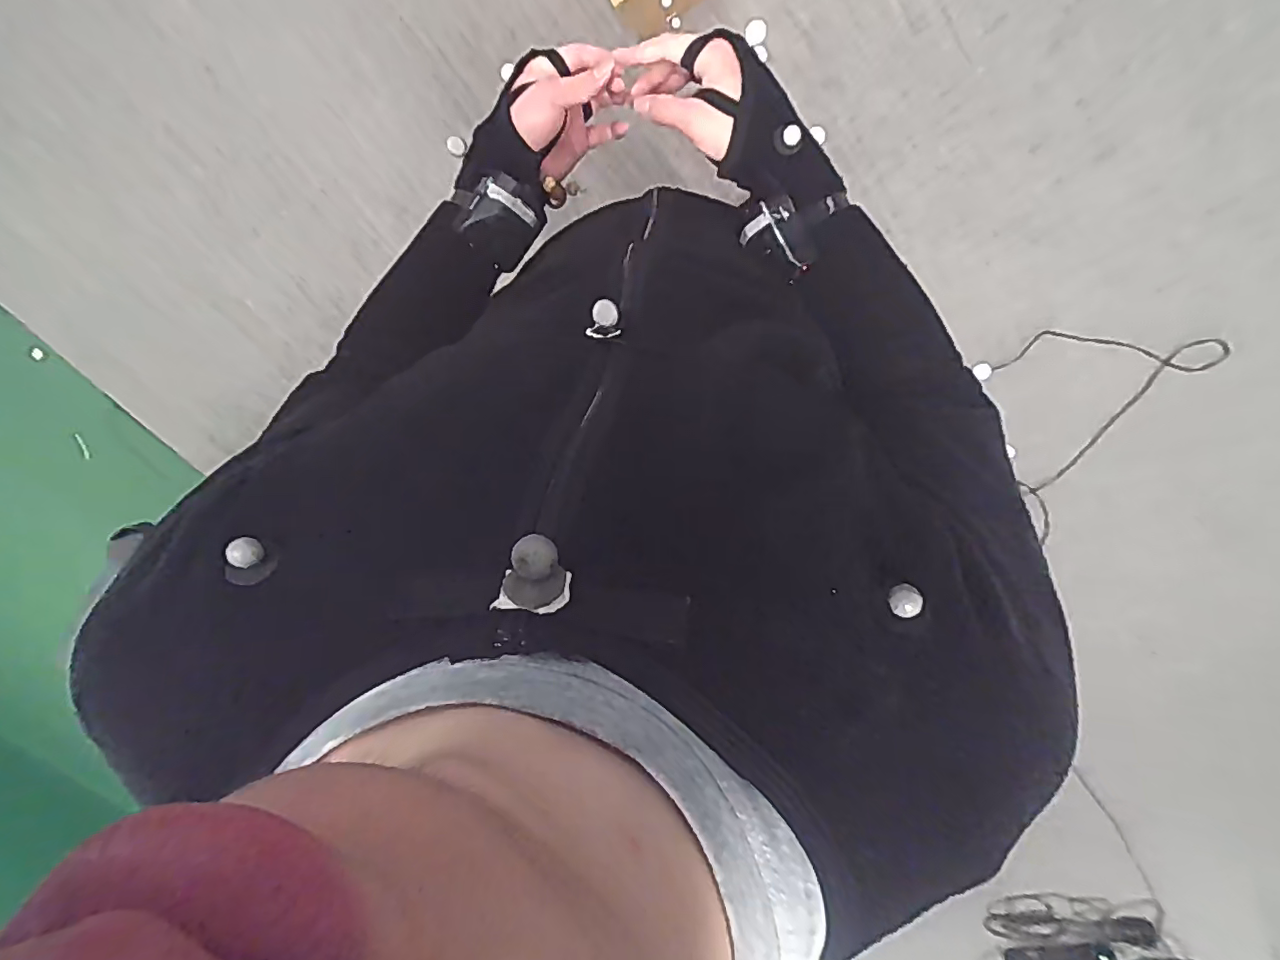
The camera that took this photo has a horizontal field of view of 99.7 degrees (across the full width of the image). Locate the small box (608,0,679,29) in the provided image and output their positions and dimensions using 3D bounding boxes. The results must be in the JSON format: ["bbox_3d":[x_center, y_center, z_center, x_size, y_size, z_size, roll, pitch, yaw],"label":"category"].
[{"bbox_3d":[0.002,-0.916,0.912,0.168,0.176,0.179,-20,116,22],"label":"small box"}]

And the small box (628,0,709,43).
[{"bbox_3d":[0.029,-1.000,1.051,0.168,0.176,0.179,-21,116,23],"label":"small box"}]
